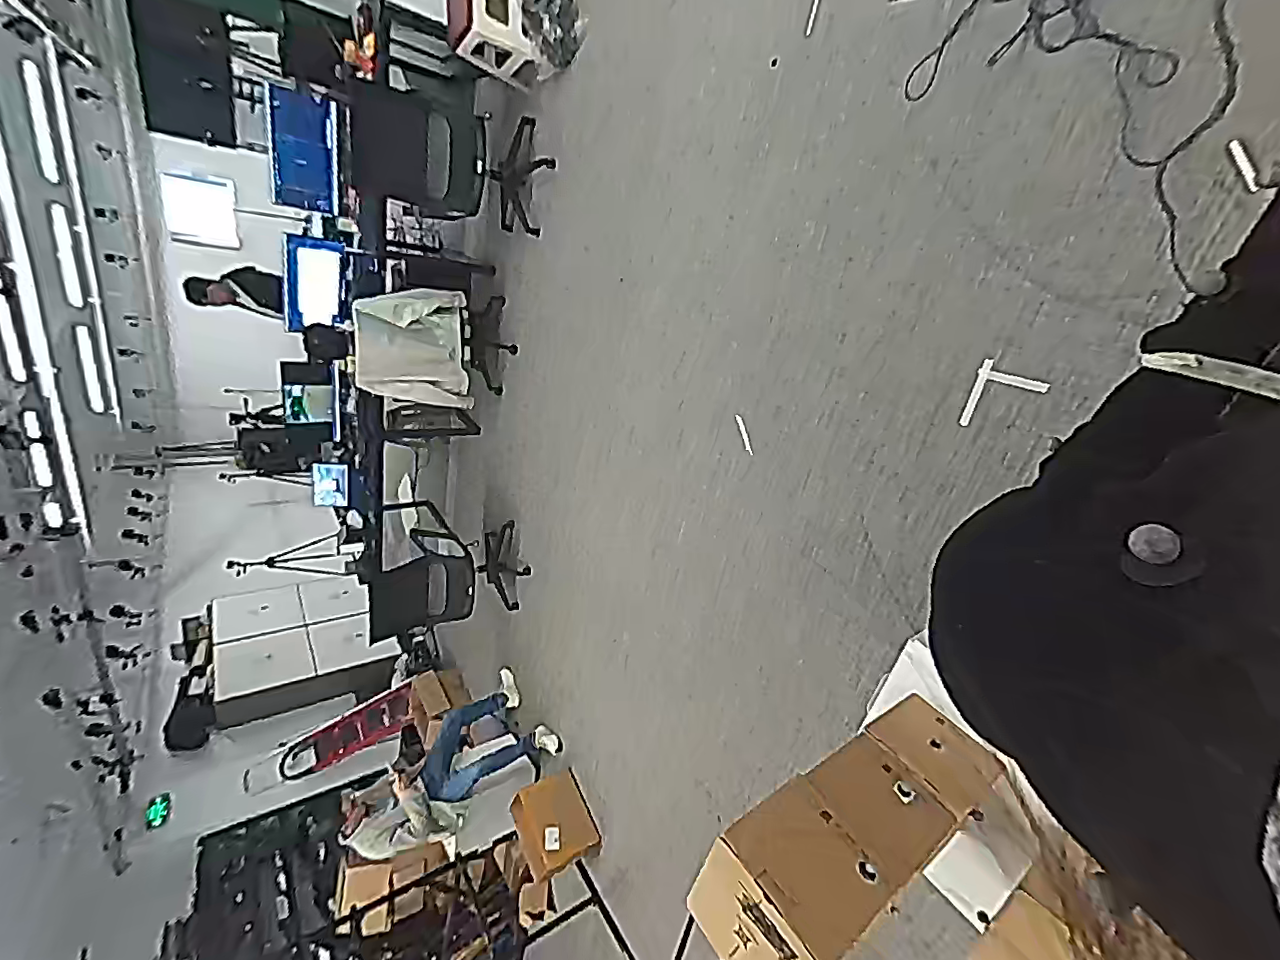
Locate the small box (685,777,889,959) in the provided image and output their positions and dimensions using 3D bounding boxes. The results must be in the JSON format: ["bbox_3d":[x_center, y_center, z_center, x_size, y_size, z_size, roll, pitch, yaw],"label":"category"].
[{"bbox_3d":[0.191,0.533,0.703,0.168,0.176,0.179,40,128,41],"label":"small box"}]

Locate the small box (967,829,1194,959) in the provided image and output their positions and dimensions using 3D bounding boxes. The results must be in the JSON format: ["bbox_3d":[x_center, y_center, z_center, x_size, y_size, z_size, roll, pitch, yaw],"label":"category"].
[{"bbox_3d":[0.592,0.629,0.731,0.168,0.176,0.179,36,123,45],"label":"small box"}]

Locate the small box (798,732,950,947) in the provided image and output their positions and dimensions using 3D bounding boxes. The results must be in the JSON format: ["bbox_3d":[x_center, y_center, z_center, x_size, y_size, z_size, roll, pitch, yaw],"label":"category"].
[{"bbox_3d":[0.321,0.519,0.803,0.168,0.176,0.179,38,124,41],"label":"small box"}]
